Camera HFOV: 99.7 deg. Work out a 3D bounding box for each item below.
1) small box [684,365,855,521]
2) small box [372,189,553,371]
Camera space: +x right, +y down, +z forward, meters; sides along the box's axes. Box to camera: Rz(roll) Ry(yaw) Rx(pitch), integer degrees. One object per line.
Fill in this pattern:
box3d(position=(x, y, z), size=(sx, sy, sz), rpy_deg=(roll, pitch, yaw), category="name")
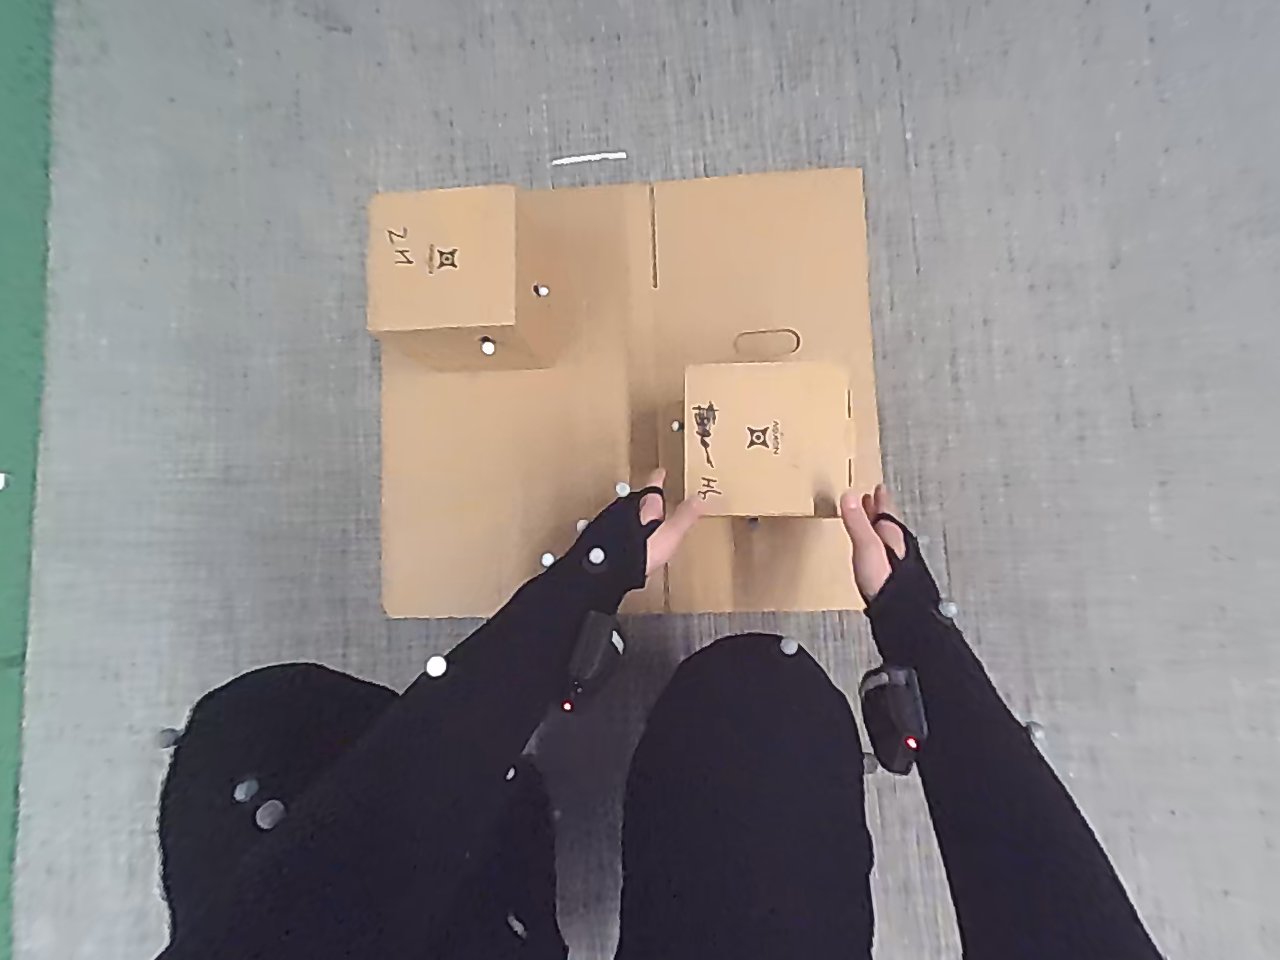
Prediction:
box3d(position=(0.144, -0.035, 0.651), size=(0.179, 0.176, 0.168), rpy_deg=(1, 85, 5), category="small box")
box3d(position=(-0.213, -0.242, 0.691), size=(0.179, 0.176, 0.168), rpy_deg=(-1, 85, 5), category="small box")
